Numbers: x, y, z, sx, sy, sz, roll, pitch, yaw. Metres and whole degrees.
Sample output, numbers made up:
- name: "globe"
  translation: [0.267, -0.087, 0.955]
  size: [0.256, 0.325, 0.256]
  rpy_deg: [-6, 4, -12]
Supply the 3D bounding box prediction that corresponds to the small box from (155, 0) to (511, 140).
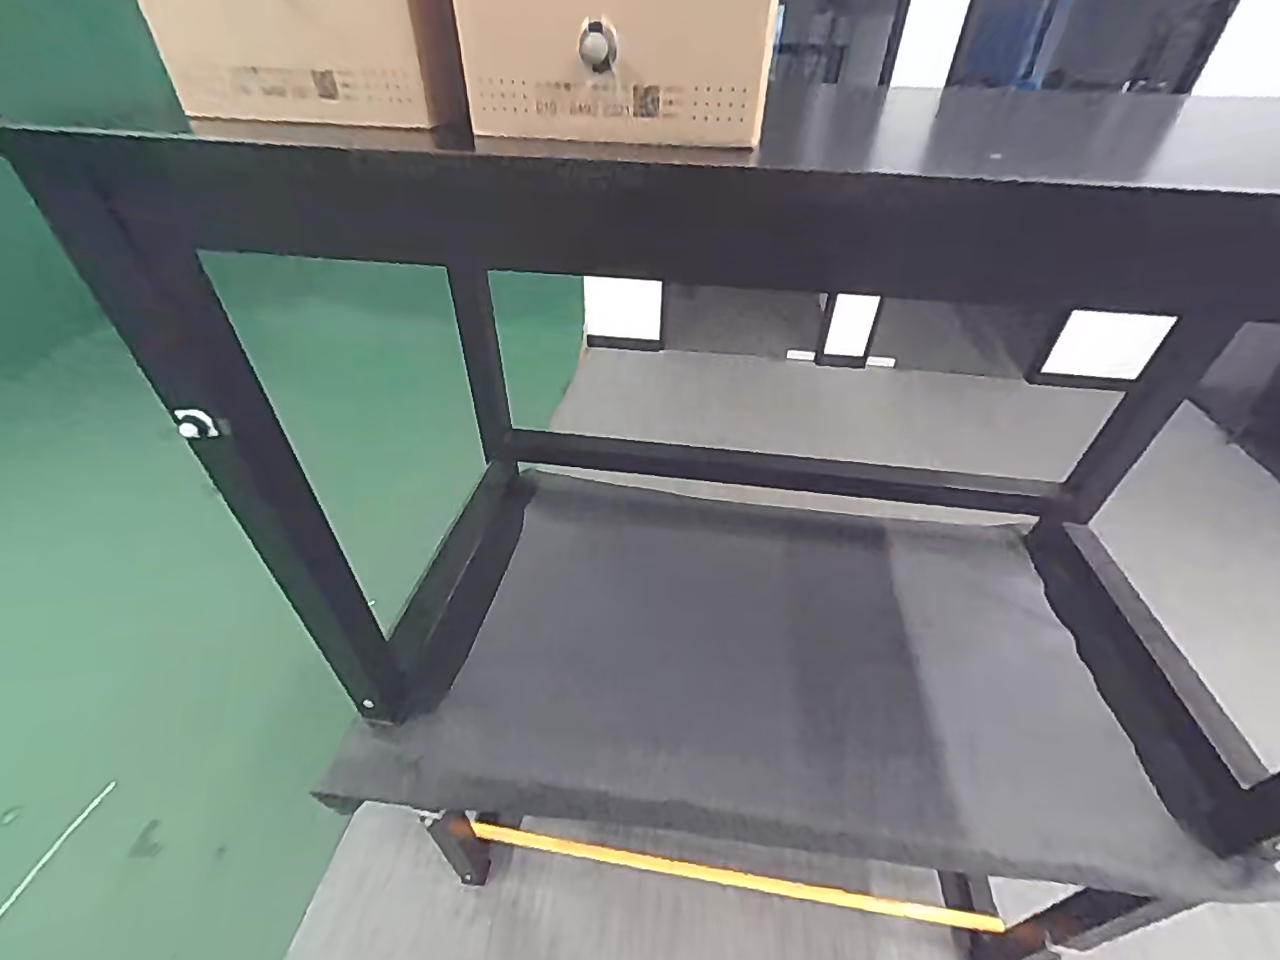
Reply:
- name: "small box"
  translation: [-0.195, -0.336, 0.358]
  size: [0.168, 0.176, 0.179]
  rpy_deg: [7, 39, 5]
